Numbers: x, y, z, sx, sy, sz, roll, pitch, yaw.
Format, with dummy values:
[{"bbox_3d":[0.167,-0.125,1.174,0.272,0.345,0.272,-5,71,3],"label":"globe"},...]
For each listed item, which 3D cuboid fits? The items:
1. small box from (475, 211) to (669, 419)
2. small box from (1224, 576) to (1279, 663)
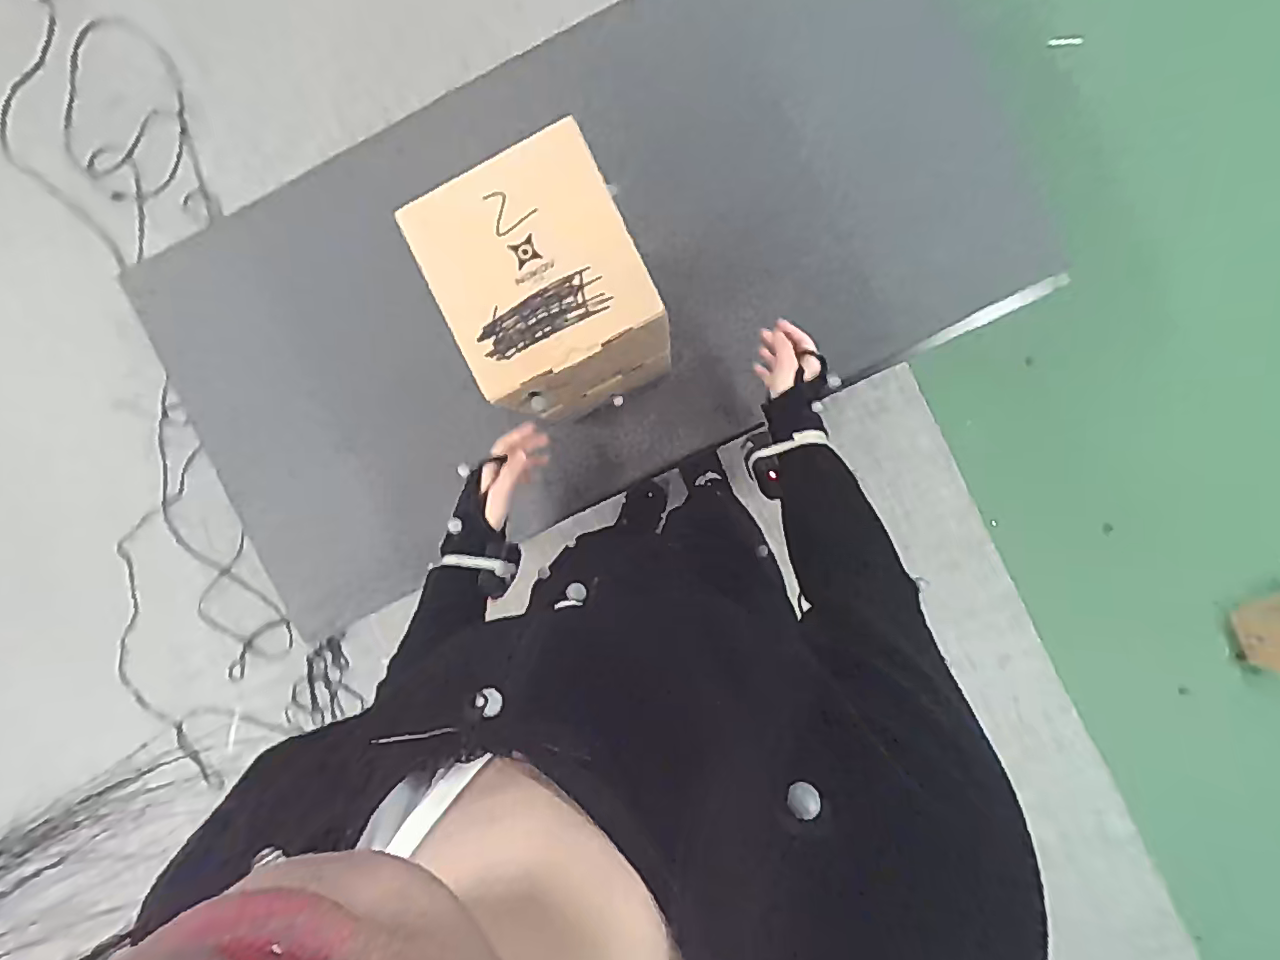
[{"bbox_3d":[-0.074,-0.191,0.684,0.168,0.176,0.179,-27,91,5],"label":"small box"},{"bbox_3d":[1.677,0.361,1.376,0.179,0.176,0.168,-25,93,5],"label":"small box"}]
